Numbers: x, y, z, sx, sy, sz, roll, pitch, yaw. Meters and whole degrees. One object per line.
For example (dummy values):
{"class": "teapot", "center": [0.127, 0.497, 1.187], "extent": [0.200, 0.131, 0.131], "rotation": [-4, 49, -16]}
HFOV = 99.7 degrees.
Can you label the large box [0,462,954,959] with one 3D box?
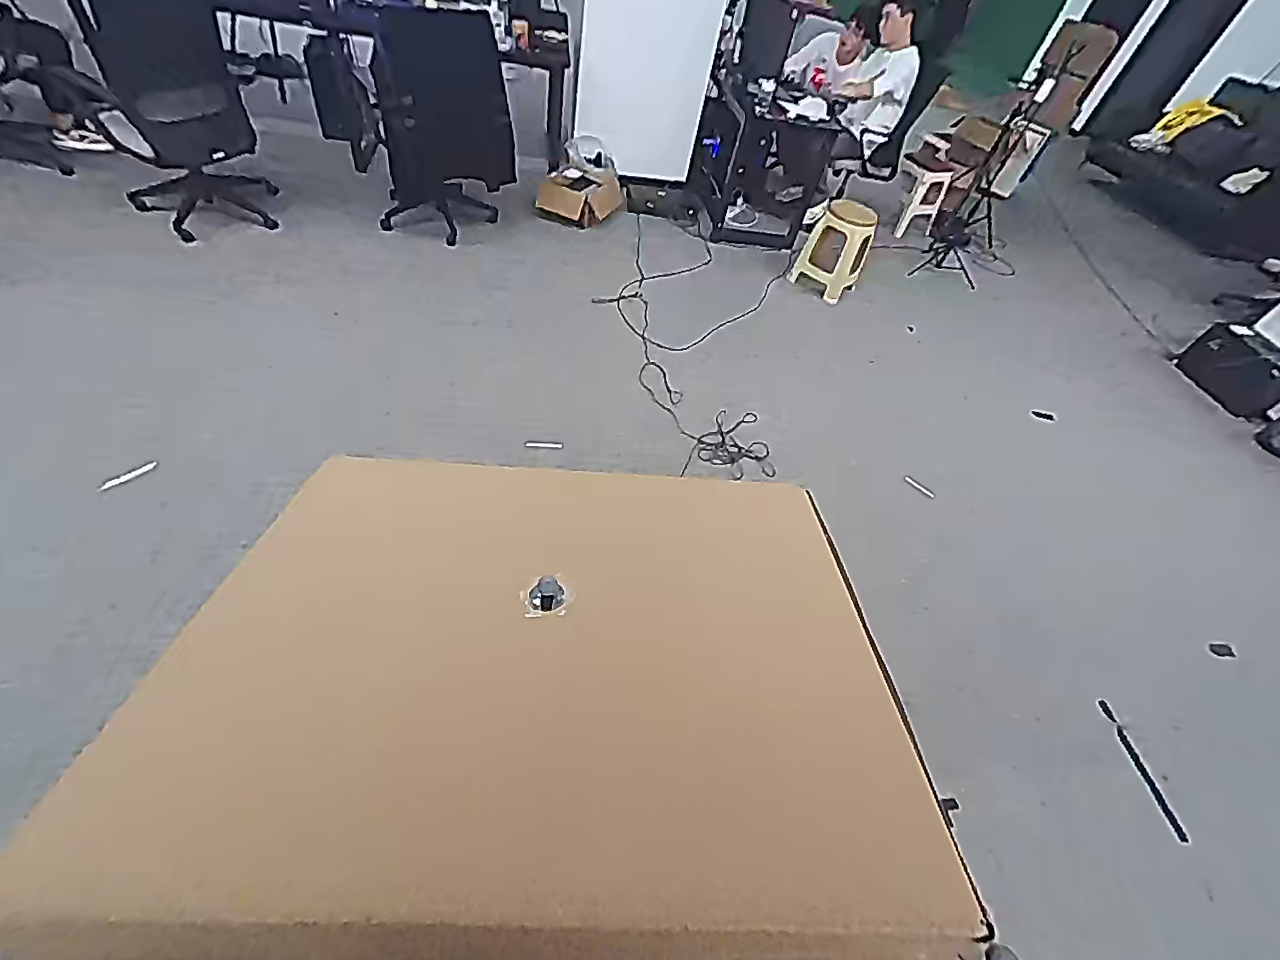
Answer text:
{"class": "large box", "center": [-0.076, 0.198, 0.424], "extent": [0.408, 0.320, 0.320], "rotation": [2, 38, -3]}
